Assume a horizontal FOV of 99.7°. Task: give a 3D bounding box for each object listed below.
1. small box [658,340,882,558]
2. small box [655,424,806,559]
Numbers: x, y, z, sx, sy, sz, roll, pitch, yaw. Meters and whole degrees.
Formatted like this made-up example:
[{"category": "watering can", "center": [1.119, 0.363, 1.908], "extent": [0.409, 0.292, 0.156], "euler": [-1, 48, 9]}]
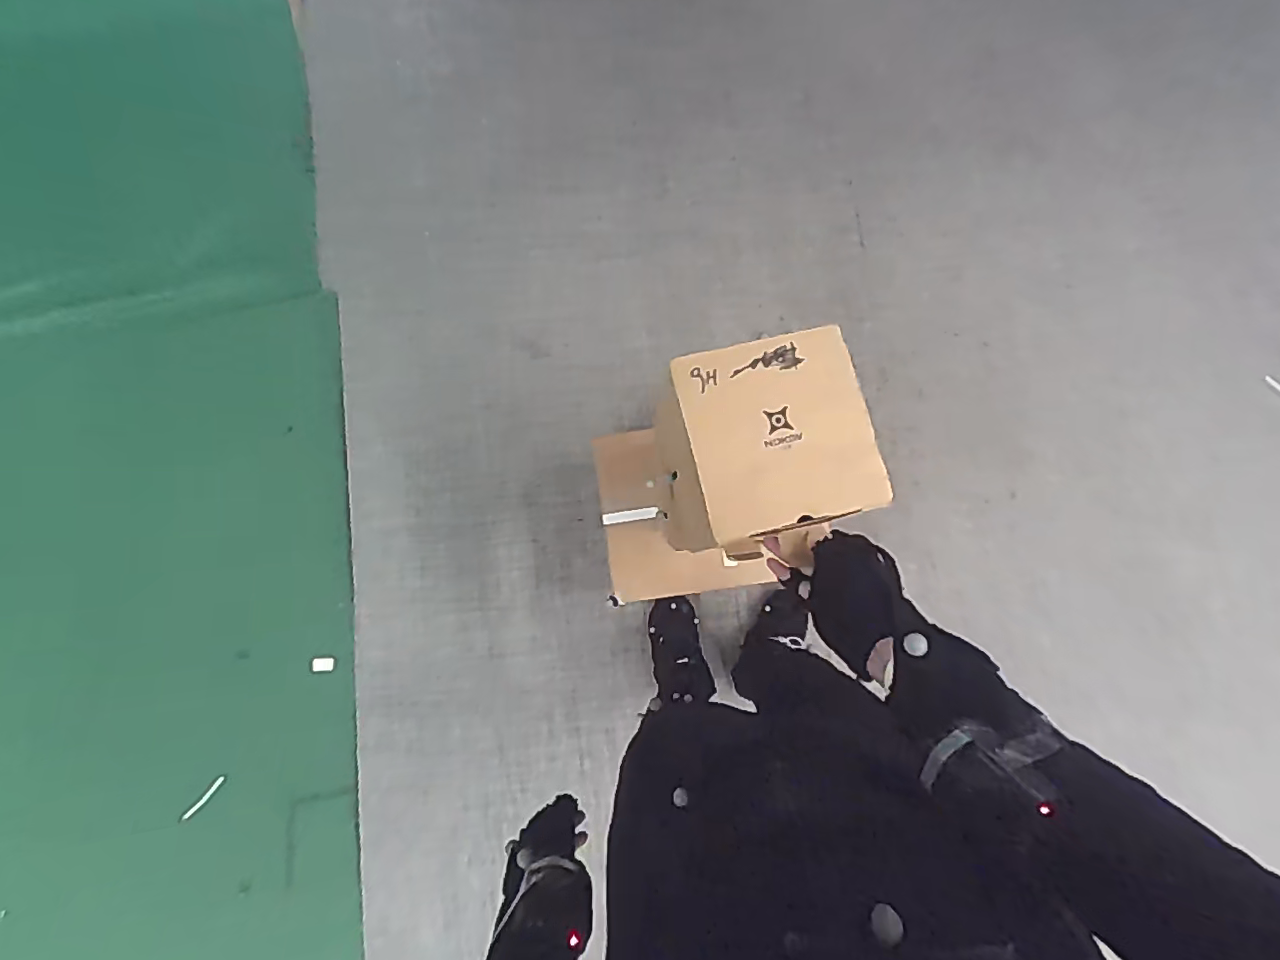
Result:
[{"category": "small box", "center": [0.119, -0.021, 0.570], "extent": [0.168, 0.176, 0.179], "euler": [-13, 81, -4]}, {"category": "small box", "center": [0.113, 0.005, 0.743], "extent": [0.168, 0.176, 0.179], "euler": [-8, 87, -2]}]
